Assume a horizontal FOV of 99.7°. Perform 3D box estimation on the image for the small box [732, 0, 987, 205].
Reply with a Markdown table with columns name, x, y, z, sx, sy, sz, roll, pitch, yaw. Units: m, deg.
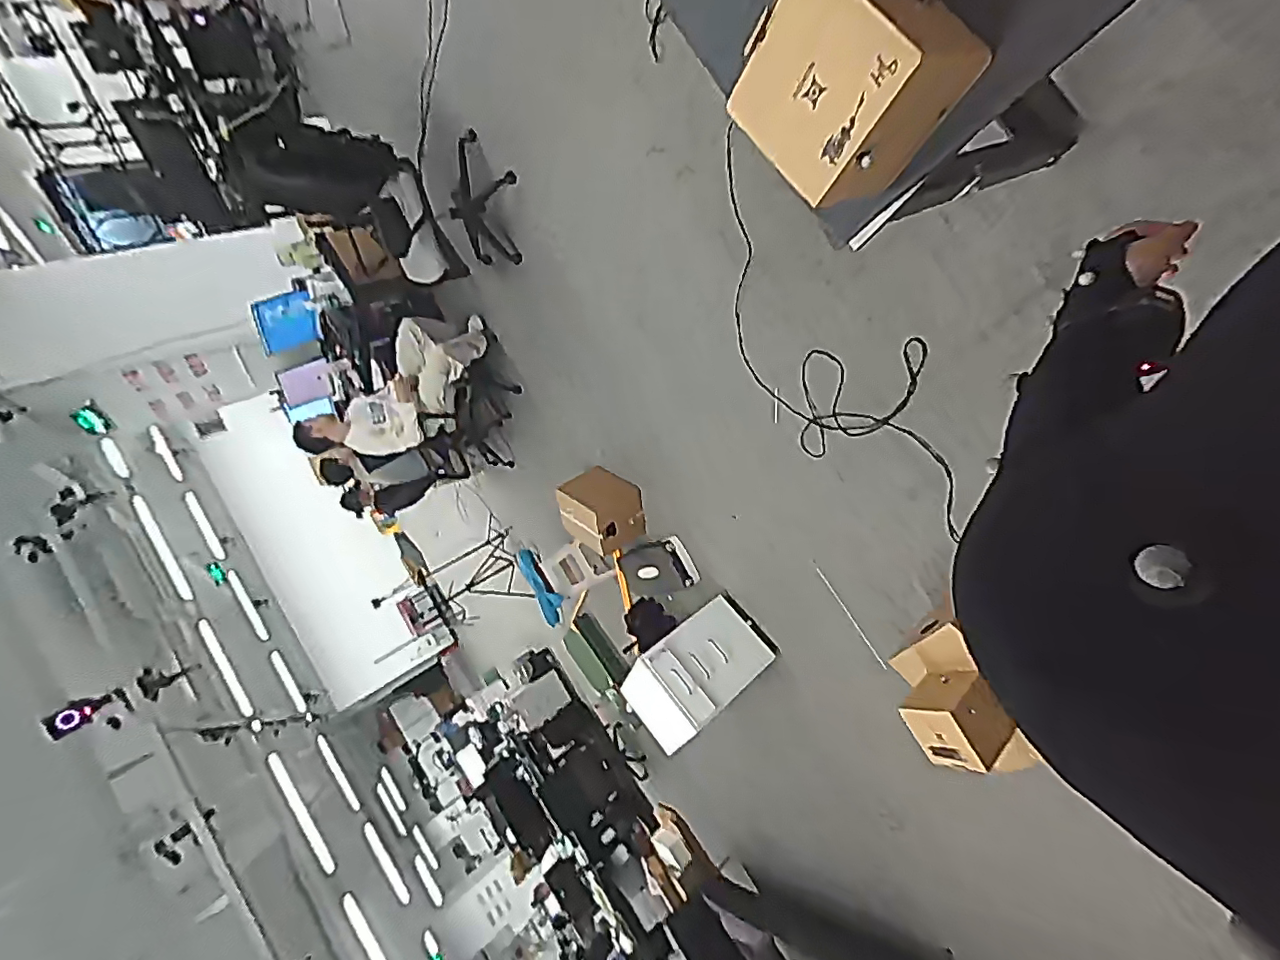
| name | x | y | z | sx | sy | sz | roll | pitch | yaw |
| --- | --- | --- | --- | --- | --- | --- | --- | --- | --- |
| small box | 0.248 | -0.455 | 0.626 | 0.179 | 0.176 | 0.168 | 54 | 148 | 11 |
